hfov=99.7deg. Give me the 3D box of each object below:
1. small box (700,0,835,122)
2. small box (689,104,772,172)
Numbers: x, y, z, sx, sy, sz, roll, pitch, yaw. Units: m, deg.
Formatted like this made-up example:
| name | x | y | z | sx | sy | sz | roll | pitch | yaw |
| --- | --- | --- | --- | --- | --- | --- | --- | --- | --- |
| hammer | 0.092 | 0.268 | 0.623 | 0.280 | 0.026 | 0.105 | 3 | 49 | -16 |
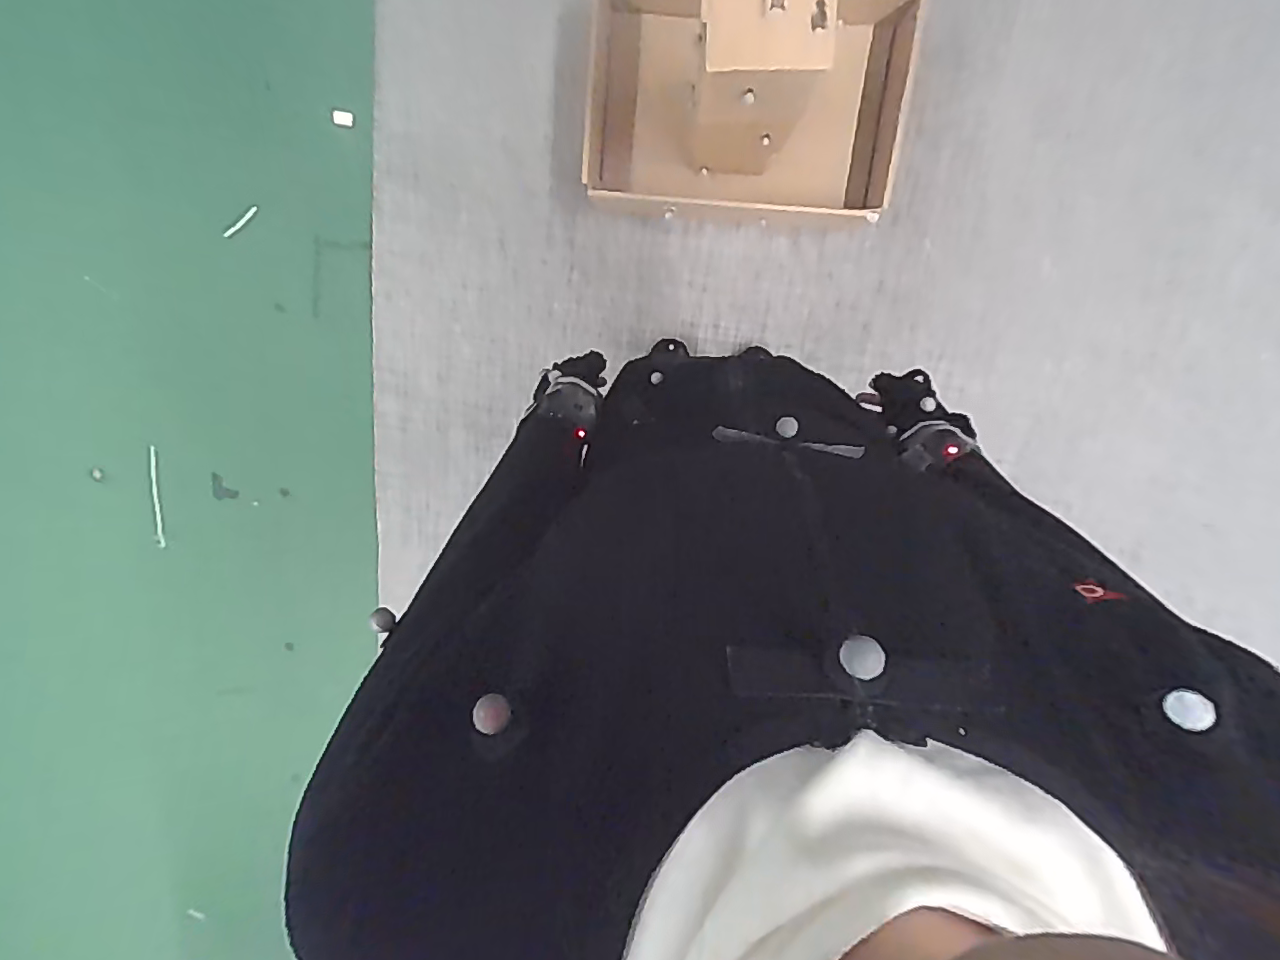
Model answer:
| name | x | y | z | sx | sy | sz | roll | pitch | yaw |
| --- | --- | --- | --- | --- | --- | --- | --- | --- | --- |
| small box | 0.178 | -0.659 | 0.803 | 0.179 | 0.176 | 0.168 | -2 | 102 | 3 |
| small box | 0.193 | -0.754 | 1.111 | 0.168 | 0.176 | 0.179 | 6 | 104 | 3 |
